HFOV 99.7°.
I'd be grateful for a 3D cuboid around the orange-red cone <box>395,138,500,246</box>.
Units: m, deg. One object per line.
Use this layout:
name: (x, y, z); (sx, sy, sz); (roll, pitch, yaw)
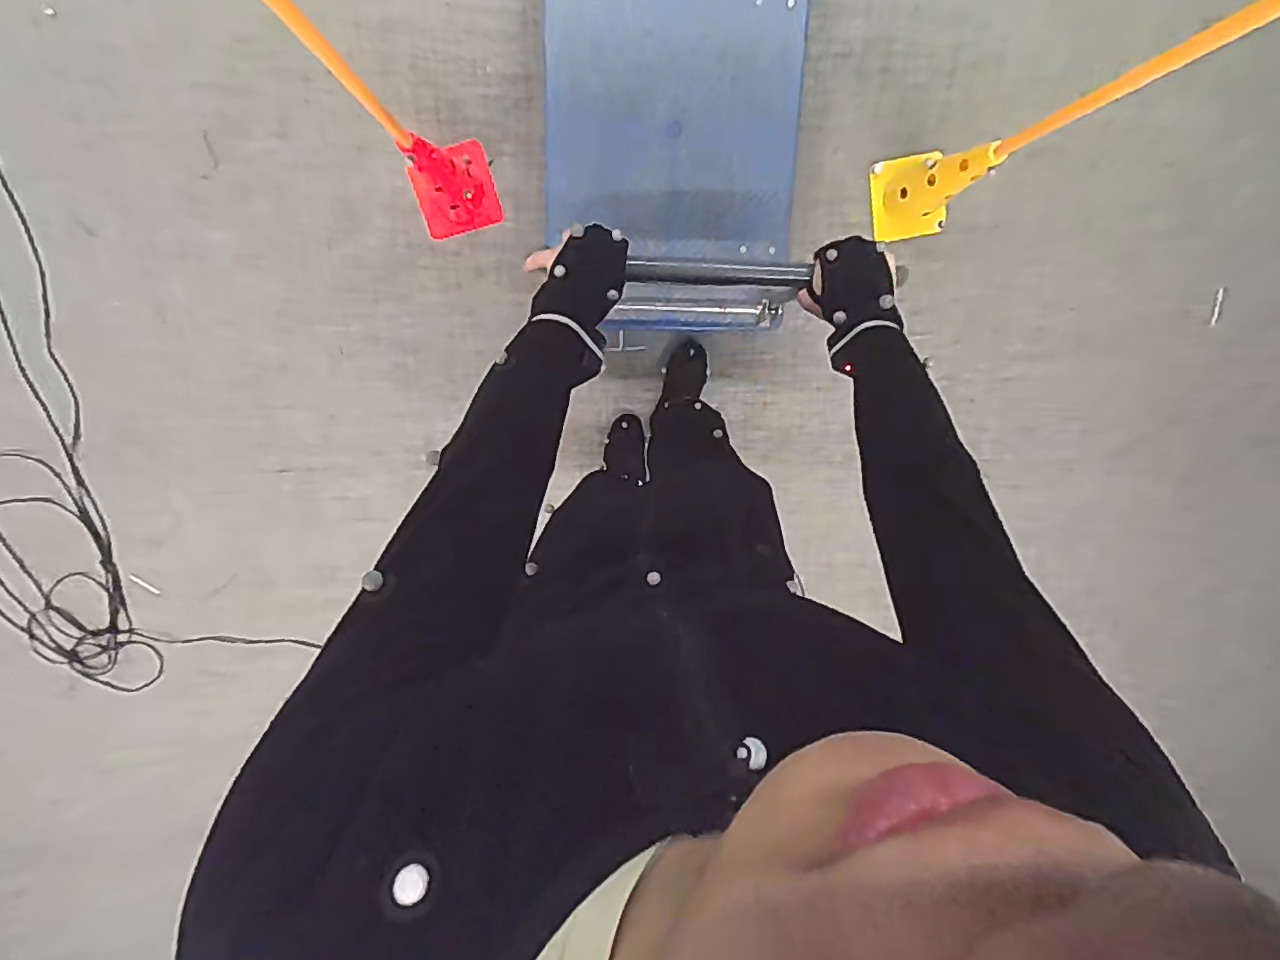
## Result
orange-red cone: (-0.462, -0.672, 1.205); (0.199, 0.360, 0.198); (-15, 103, 1)
